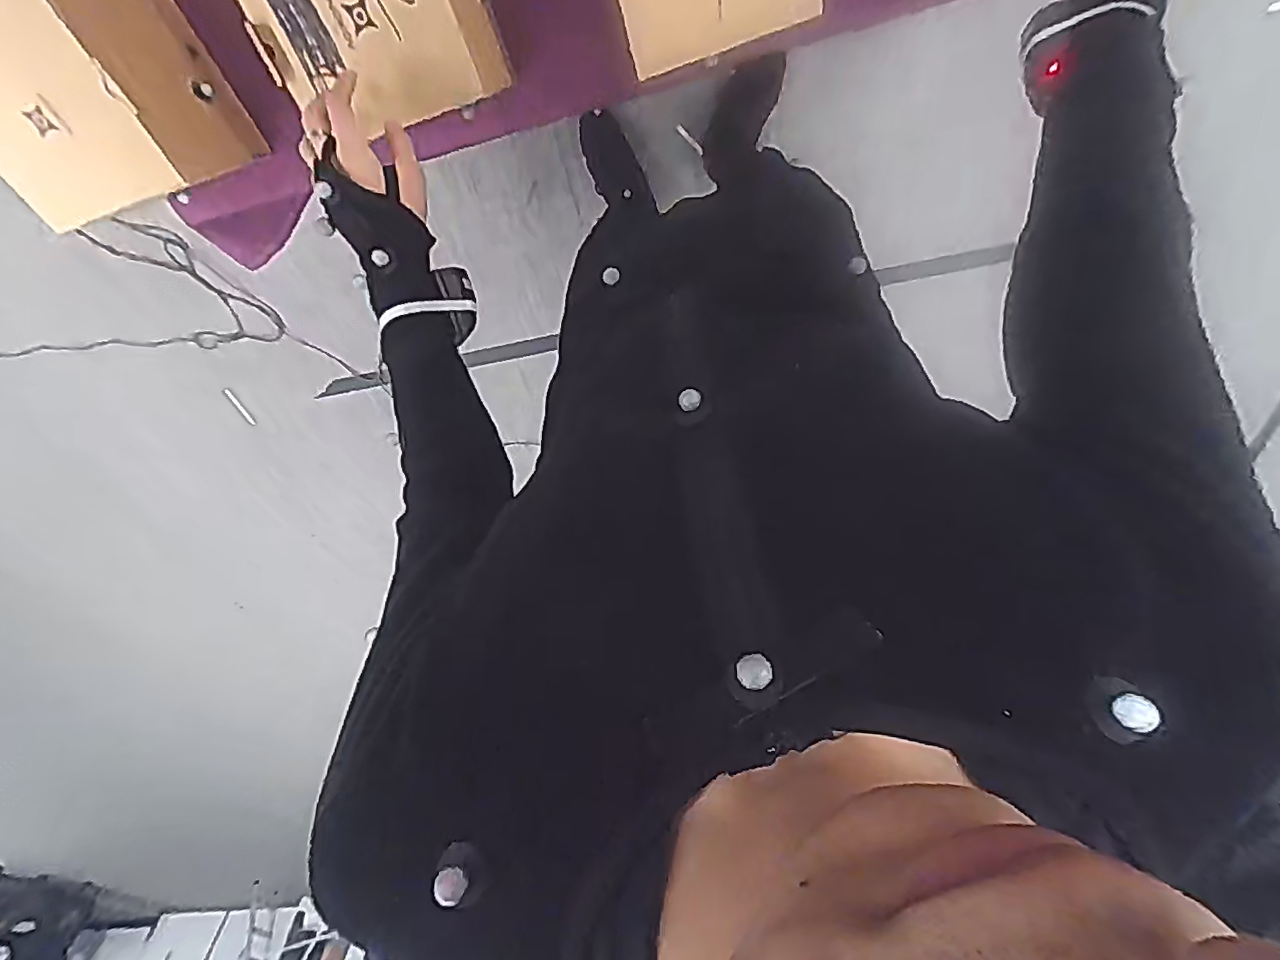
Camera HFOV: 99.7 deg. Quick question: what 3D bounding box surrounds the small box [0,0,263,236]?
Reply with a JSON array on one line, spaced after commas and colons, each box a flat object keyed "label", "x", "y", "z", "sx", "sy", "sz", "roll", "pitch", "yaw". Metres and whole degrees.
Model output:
[{"label": "small box", "x": -0.562, "y": -0.389, "z": 0.575, "sx": 0.179, "sy": 0.176, "sz": 0.168, "roll": -14, "pitch": 129, "yaw": 11}]

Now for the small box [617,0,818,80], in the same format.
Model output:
[{"label": "small box", "x": 0.051, "y": -0.491, "z": 0.482, "sx": 0.168, "sy": 0.176, "sz": 0.179, "roll": -12, "pitch": 130, "yaw": 11}]
